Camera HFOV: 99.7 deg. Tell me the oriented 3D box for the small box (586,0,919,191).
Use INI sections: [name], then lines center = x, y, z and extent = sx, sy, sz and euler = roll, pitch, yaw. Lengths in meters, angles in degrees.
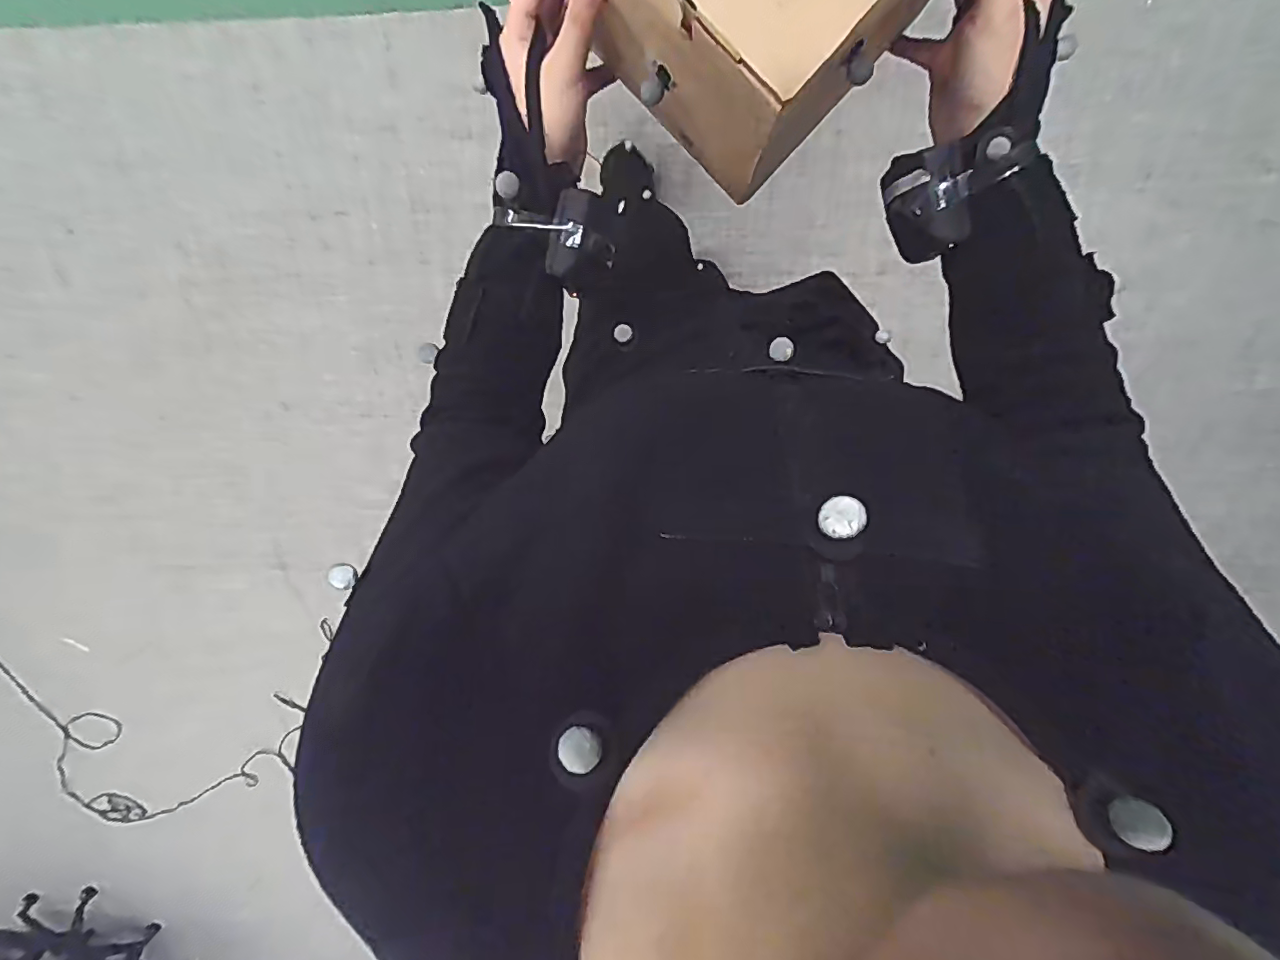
[small box]
center = 0.073, -0.313, 0.319
extent = 0.168, 0.176, 0.179
euler = 44, 102, -6
